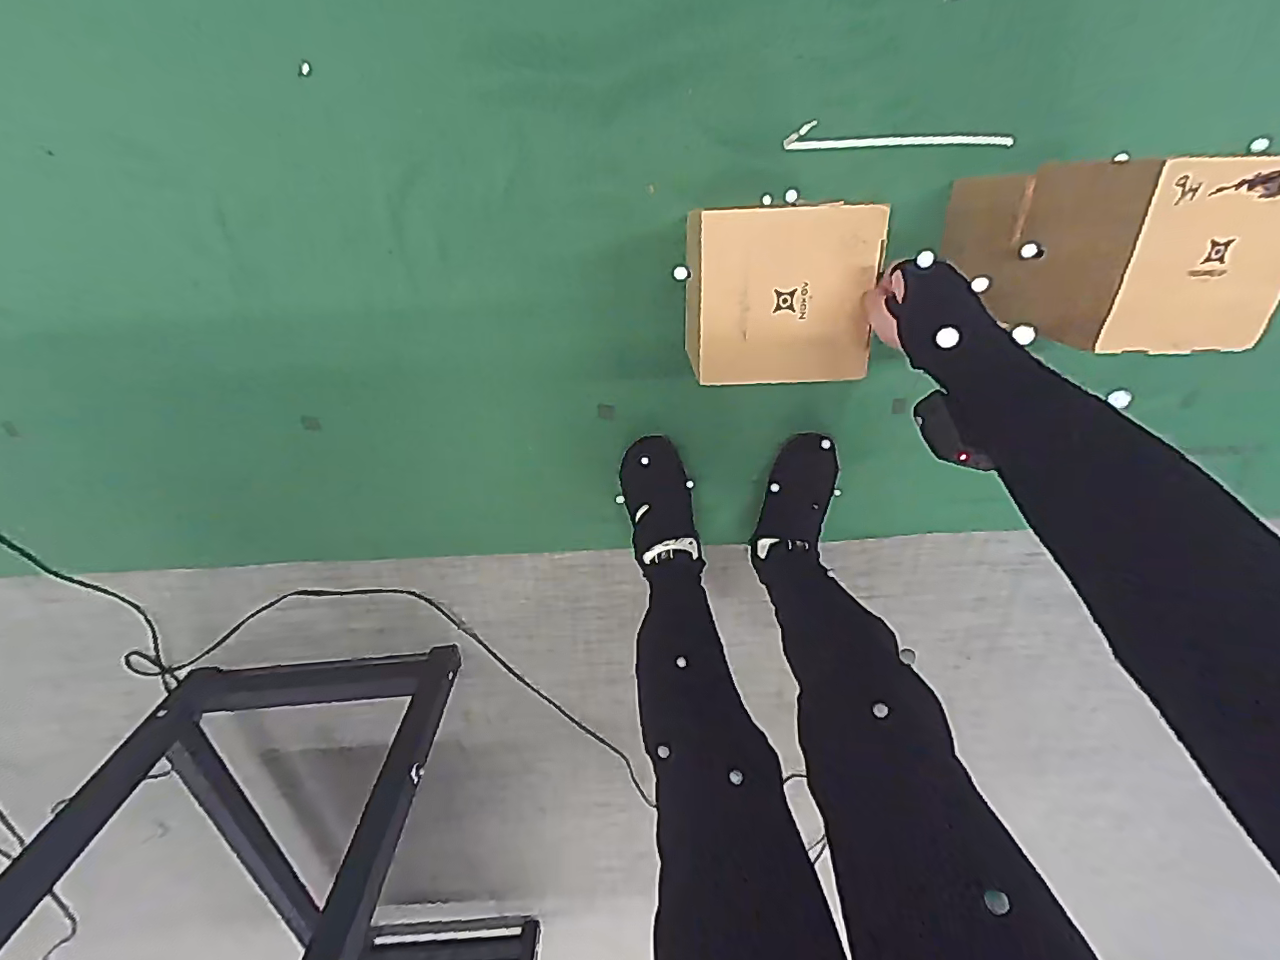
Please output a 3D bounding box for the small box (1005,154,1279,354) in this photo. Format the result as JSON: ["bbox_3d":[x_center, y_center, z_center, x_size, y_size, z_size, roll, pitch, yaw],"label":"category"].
[{"bbox_3d":[0.537,-0.245,0.579,0.168,0.176,0.179,-1,119,-2],"label":"small box"}]

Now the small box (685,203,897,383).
[{"bbox_3d":[0.146,-0.211,0.593,0.179,0.176,0.168,-2,116,0],"label":"small box"}]
